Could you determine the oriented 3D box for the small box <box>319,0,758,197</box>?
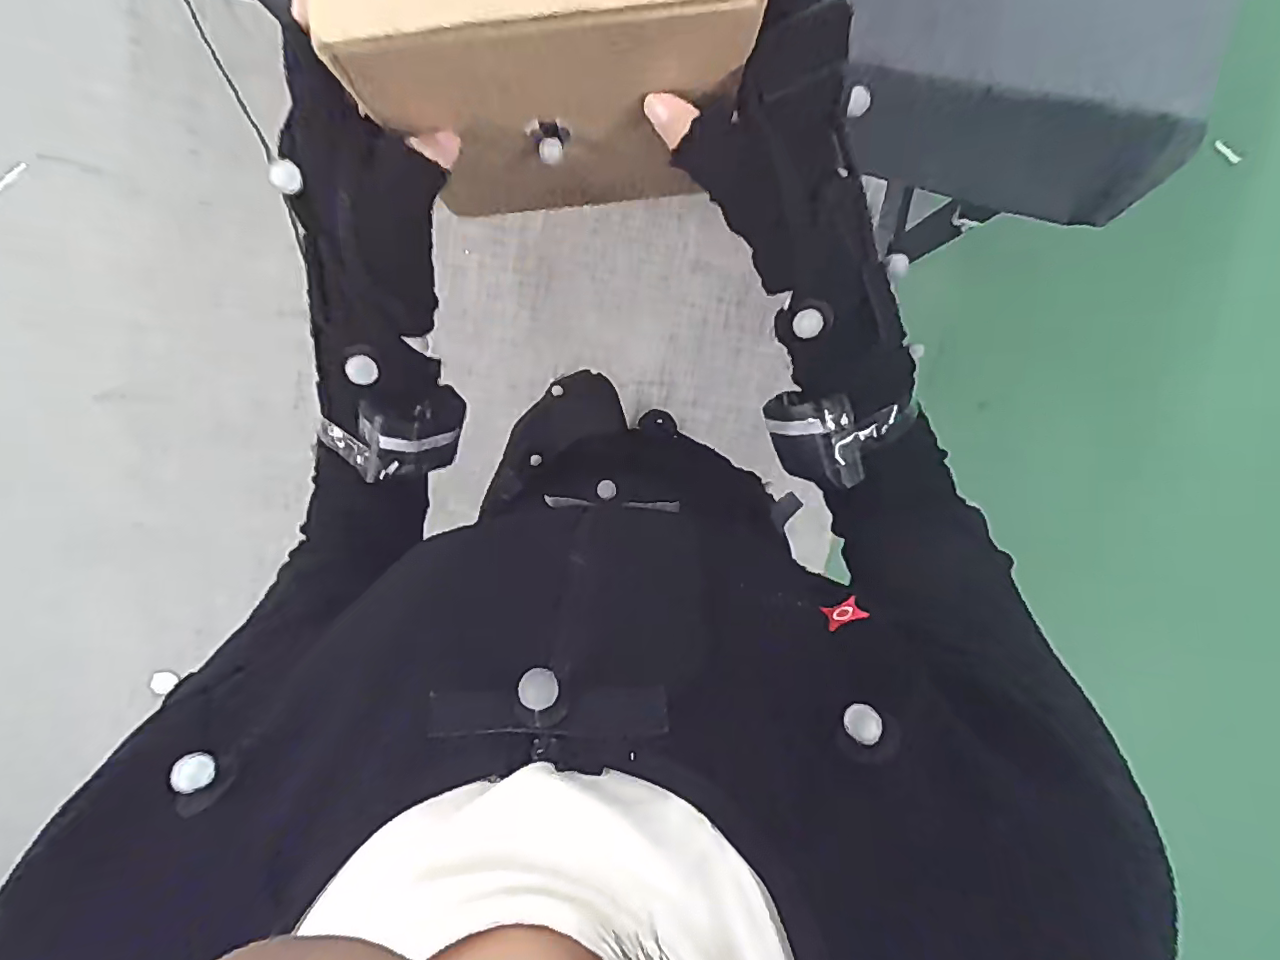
[{"bbox_3d":[-0.045,-0.272,0.282,0.179,0.176,0.168,-6,94,1],"label":"small box"}]
